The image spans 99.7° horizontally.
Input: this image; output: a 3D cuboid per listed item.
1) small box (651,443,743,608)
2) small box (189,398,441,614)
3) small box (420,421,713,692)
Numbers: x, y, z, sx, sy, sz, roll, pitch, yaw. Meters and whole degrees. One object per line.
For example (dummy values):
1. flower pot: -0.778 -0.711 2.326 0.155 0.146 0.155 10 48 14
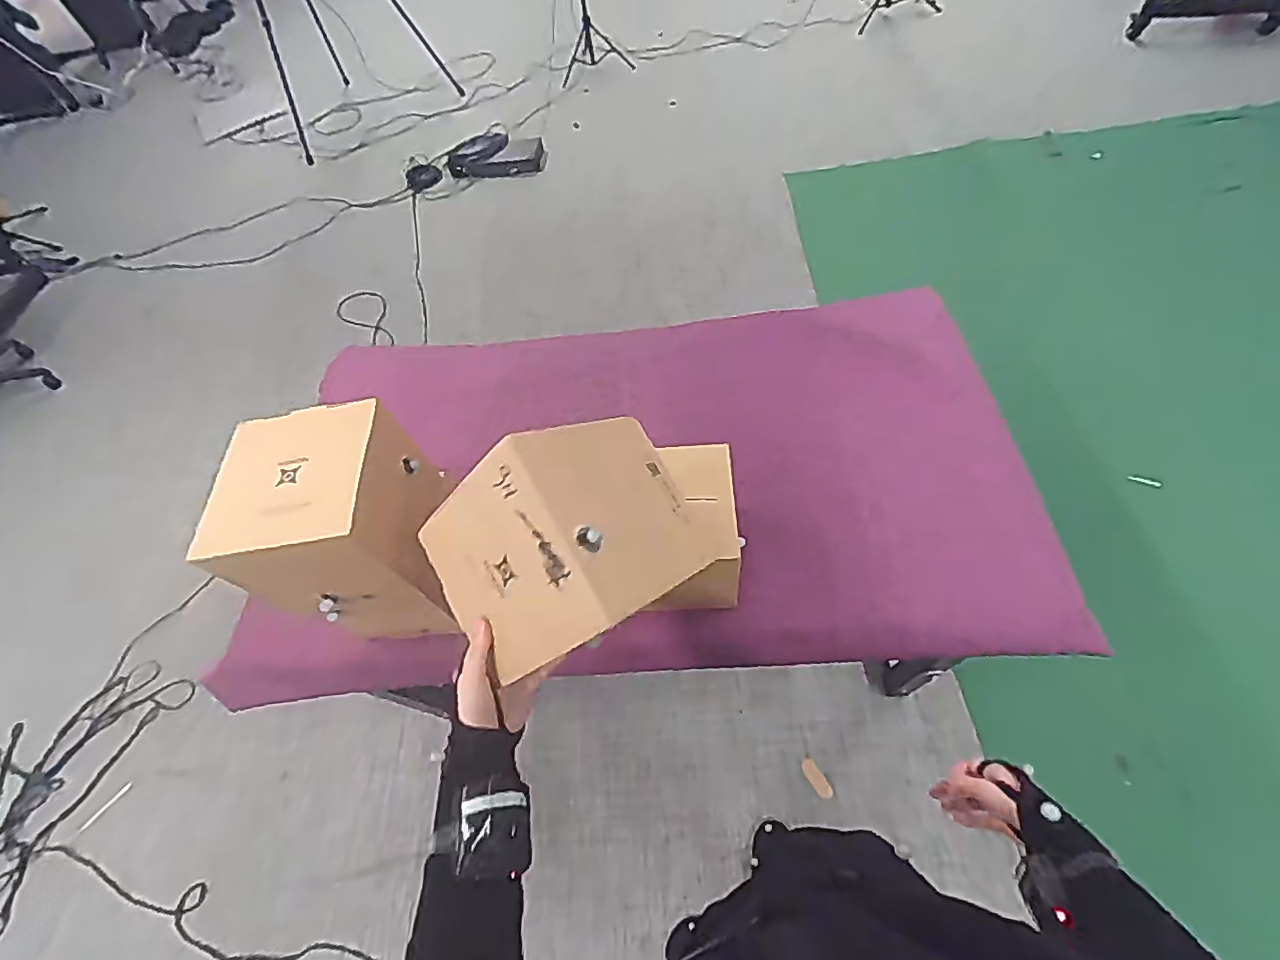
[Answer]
1. small box: 0.043 0.068 0.735 0.179 0.176 0.168 -3 57 5
2. small box: -0.345 0.035 0.618 0.168 0.176 0.179 -9 57 3
3. small box: -0.066 0.064 0.503 0.176 0.179 0.168 -19 75 -51
